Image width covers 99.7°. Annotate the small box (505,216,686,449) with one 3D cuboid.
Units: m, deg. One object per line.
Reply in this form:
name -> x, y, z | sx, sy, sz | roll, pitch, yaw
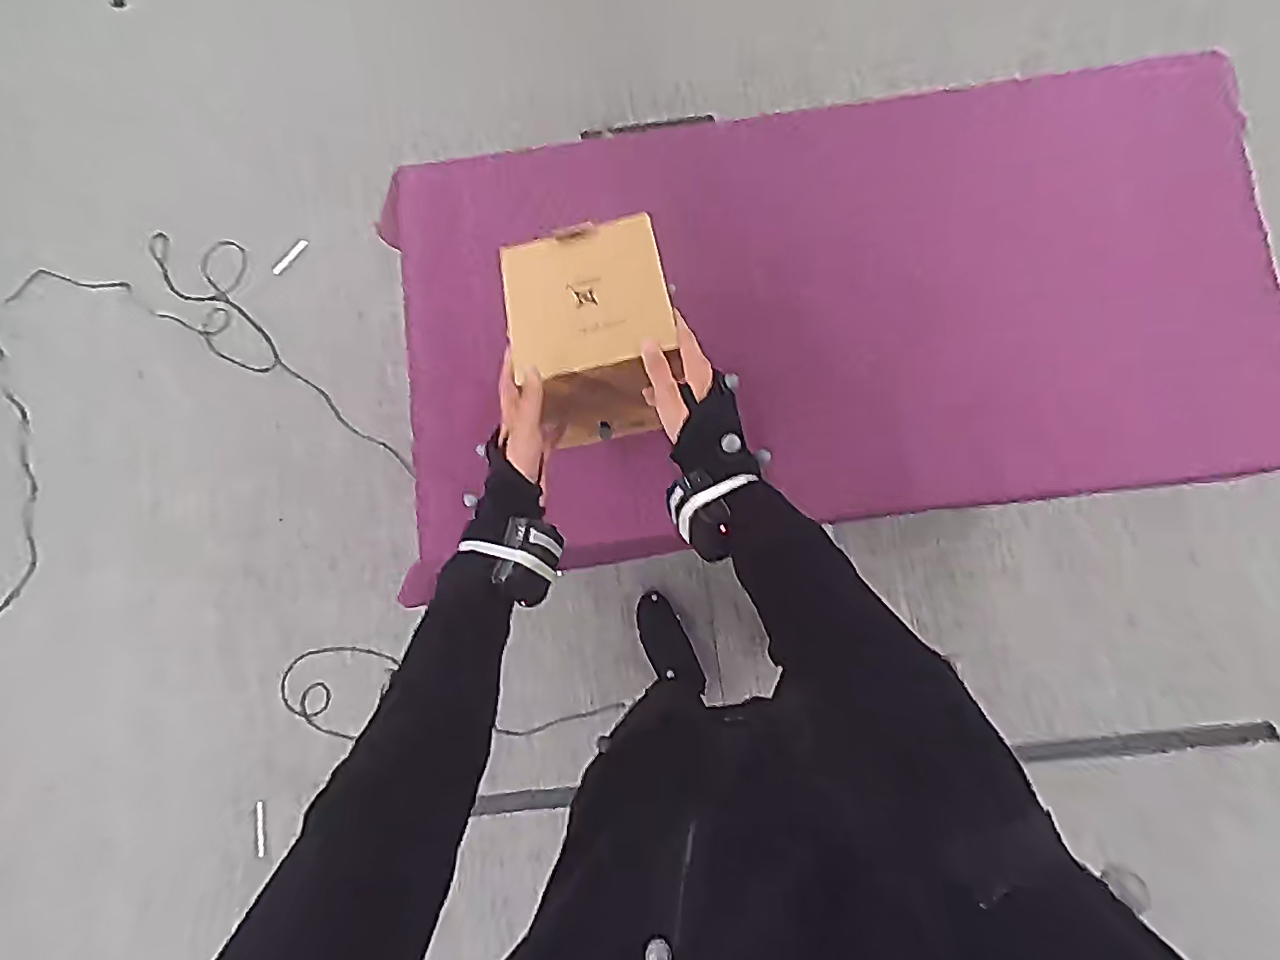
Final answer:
small box -> -0.044, -0.157, 0.617 | 0.168, 0.176, 0.179 | -11, 68, 4
